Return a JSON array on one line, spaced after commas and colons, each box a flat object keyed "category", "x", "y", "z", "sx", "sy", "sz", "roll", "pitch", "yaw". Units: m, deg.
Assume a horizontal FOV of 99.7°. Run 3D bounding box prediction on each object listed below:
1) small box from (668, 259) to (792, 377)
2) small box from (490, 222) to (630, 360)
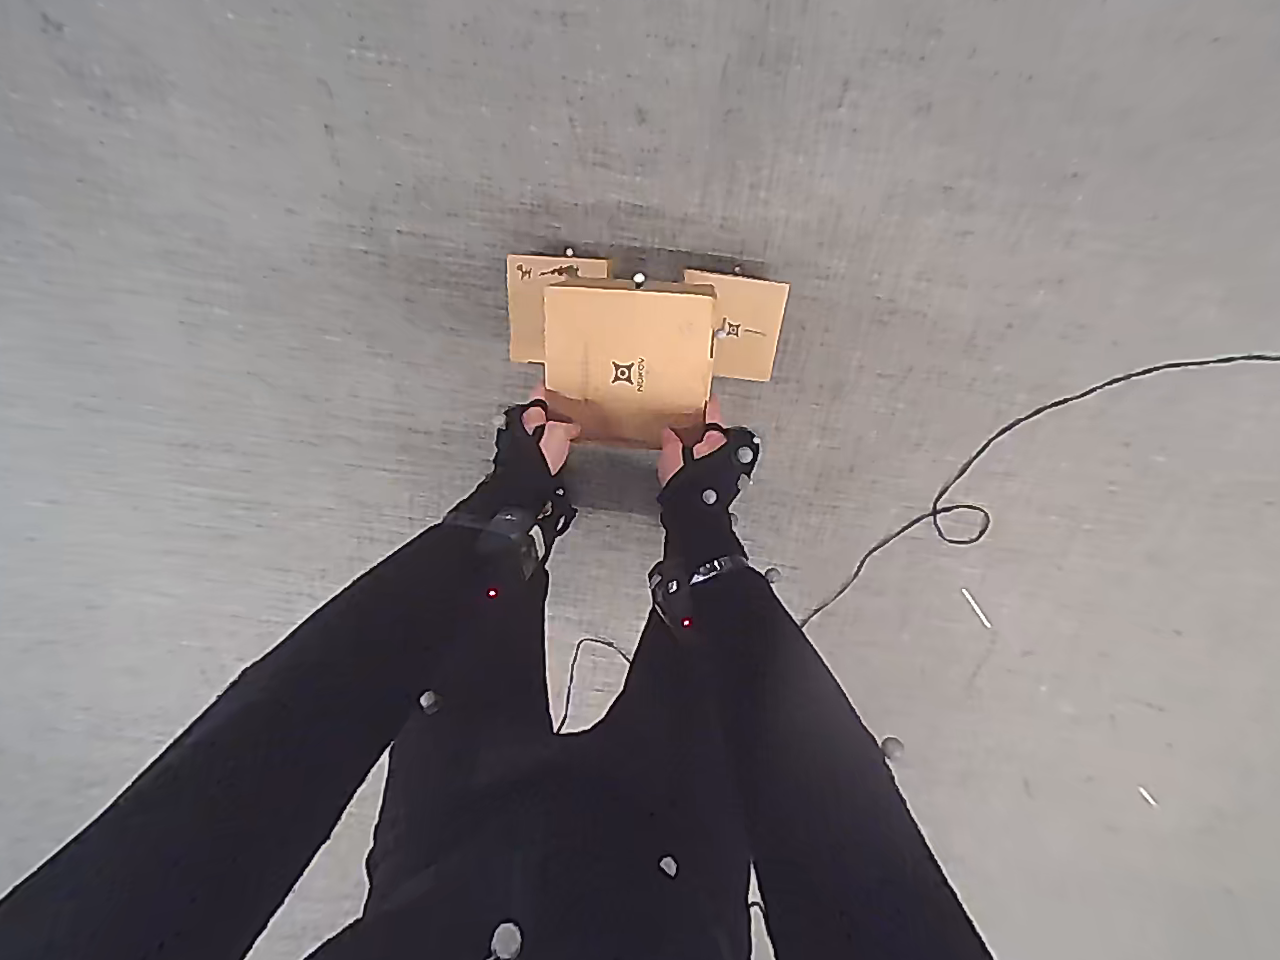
[{"category": "small box", "x": 0.153, "y": -0.299, "z": 0.983, "sx": 0.179, "sy": 0.176, "sz": 0.168, "roll": 11, "pitch": 114, "yaw": -2}, {"category": "small box", "x": -0.132, "y": -0.336, "z": 0.973, "sx": 0.179, "sy": 0.176, "sz": 0.168, "roll": -24, "pitch": 108, "yaw": 13}]
